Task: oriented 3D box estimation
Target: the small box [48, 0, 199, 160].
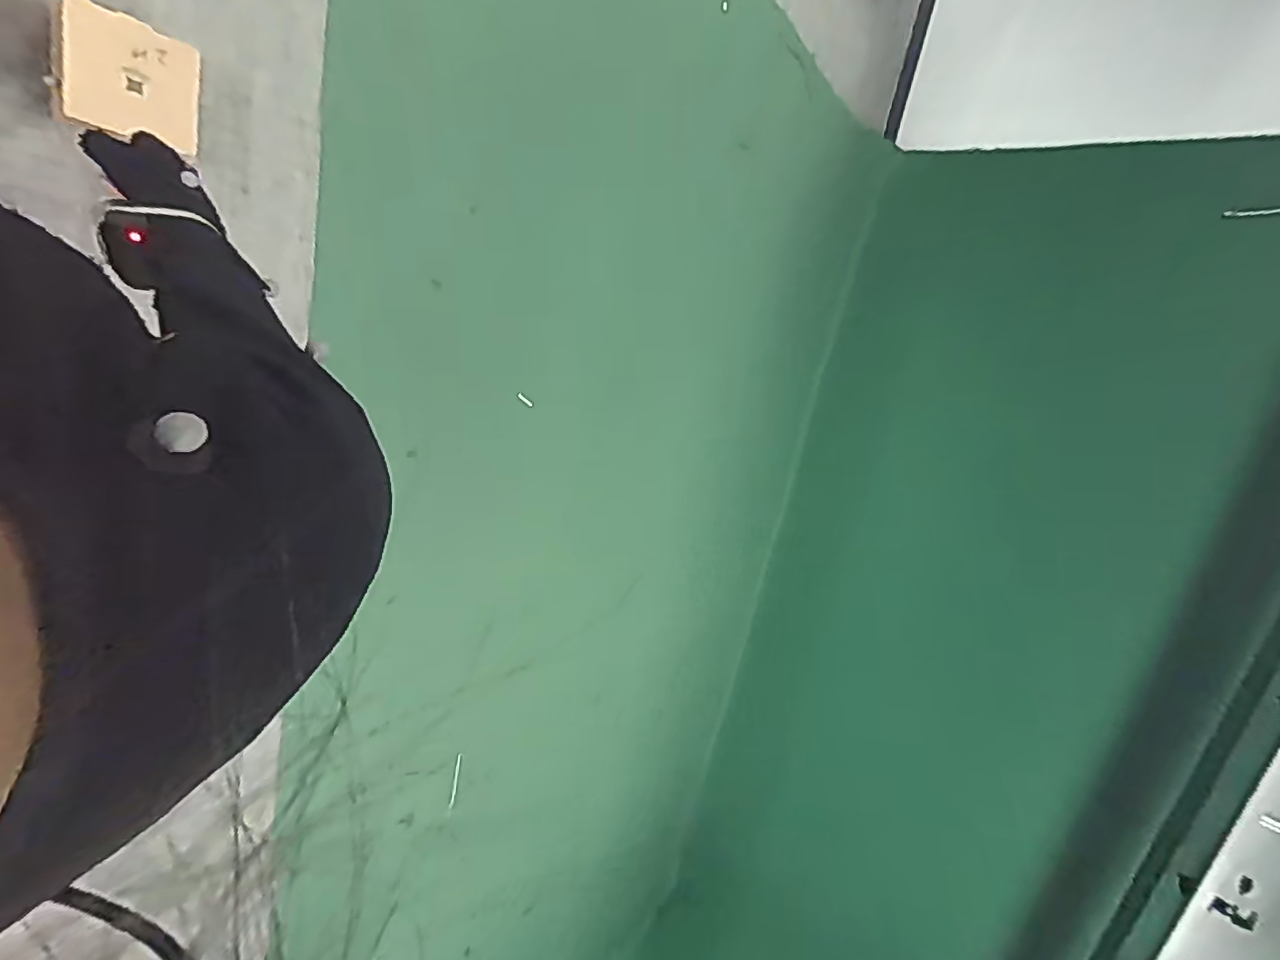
[{"bbox_3d":[-0.884,-0.673,0.926,0.168,0.176,0.179,-4,111,-51],"label":"small box"}]
